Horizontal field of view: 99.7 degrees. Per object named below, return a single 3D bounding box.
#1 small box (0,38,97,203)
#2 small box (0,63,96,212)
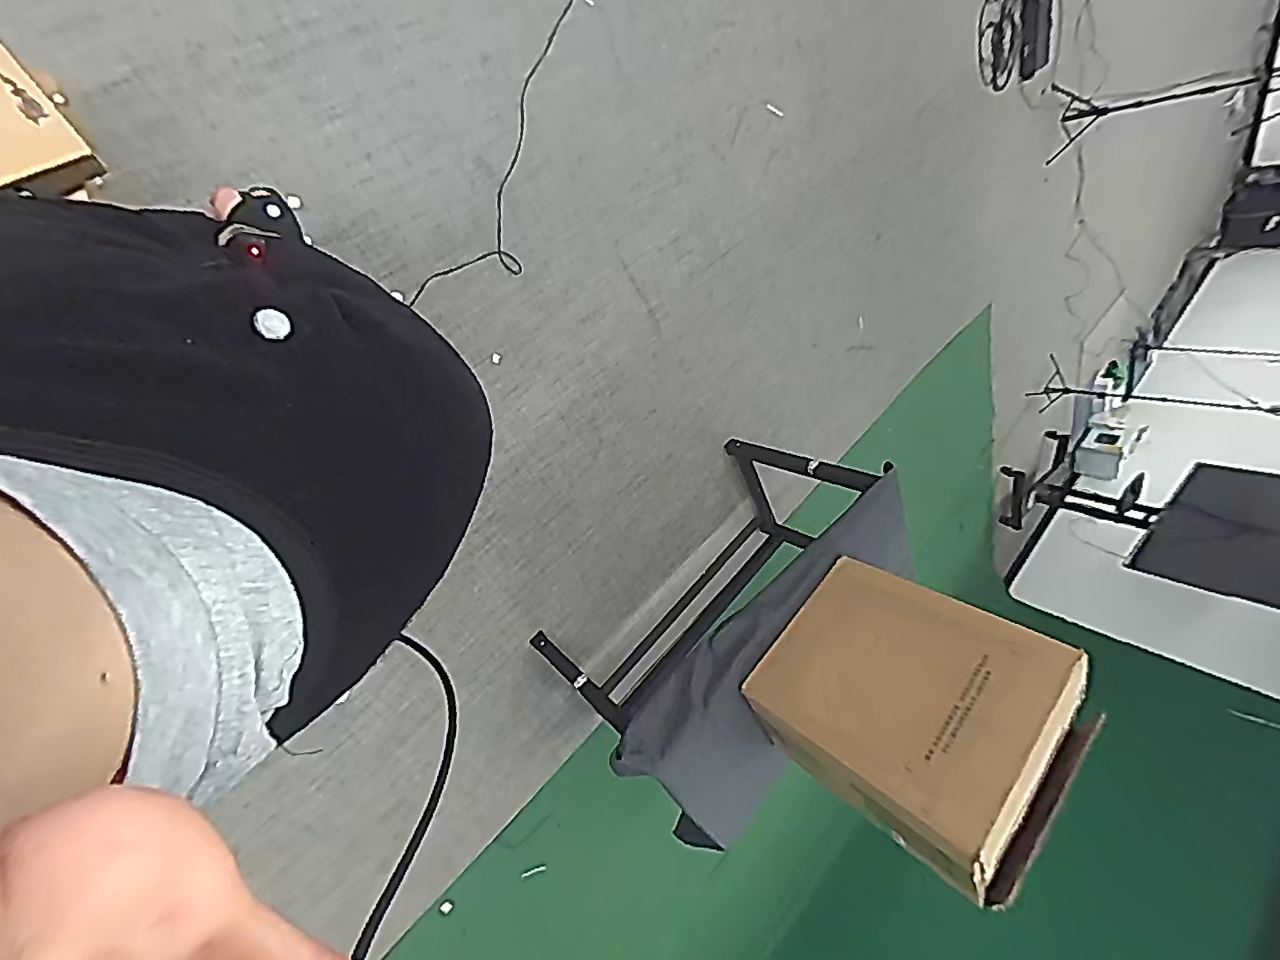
[{"bbox_3d":[-0.855,-0.463,0.684,0.179,0.176,0.168,-39,127,-20],"label":"small box"},{"bbox_3d":[-0.956,-0.510,0.805,0.168,0.176,0.179,-13,115,-35],"label":"small box"}]
